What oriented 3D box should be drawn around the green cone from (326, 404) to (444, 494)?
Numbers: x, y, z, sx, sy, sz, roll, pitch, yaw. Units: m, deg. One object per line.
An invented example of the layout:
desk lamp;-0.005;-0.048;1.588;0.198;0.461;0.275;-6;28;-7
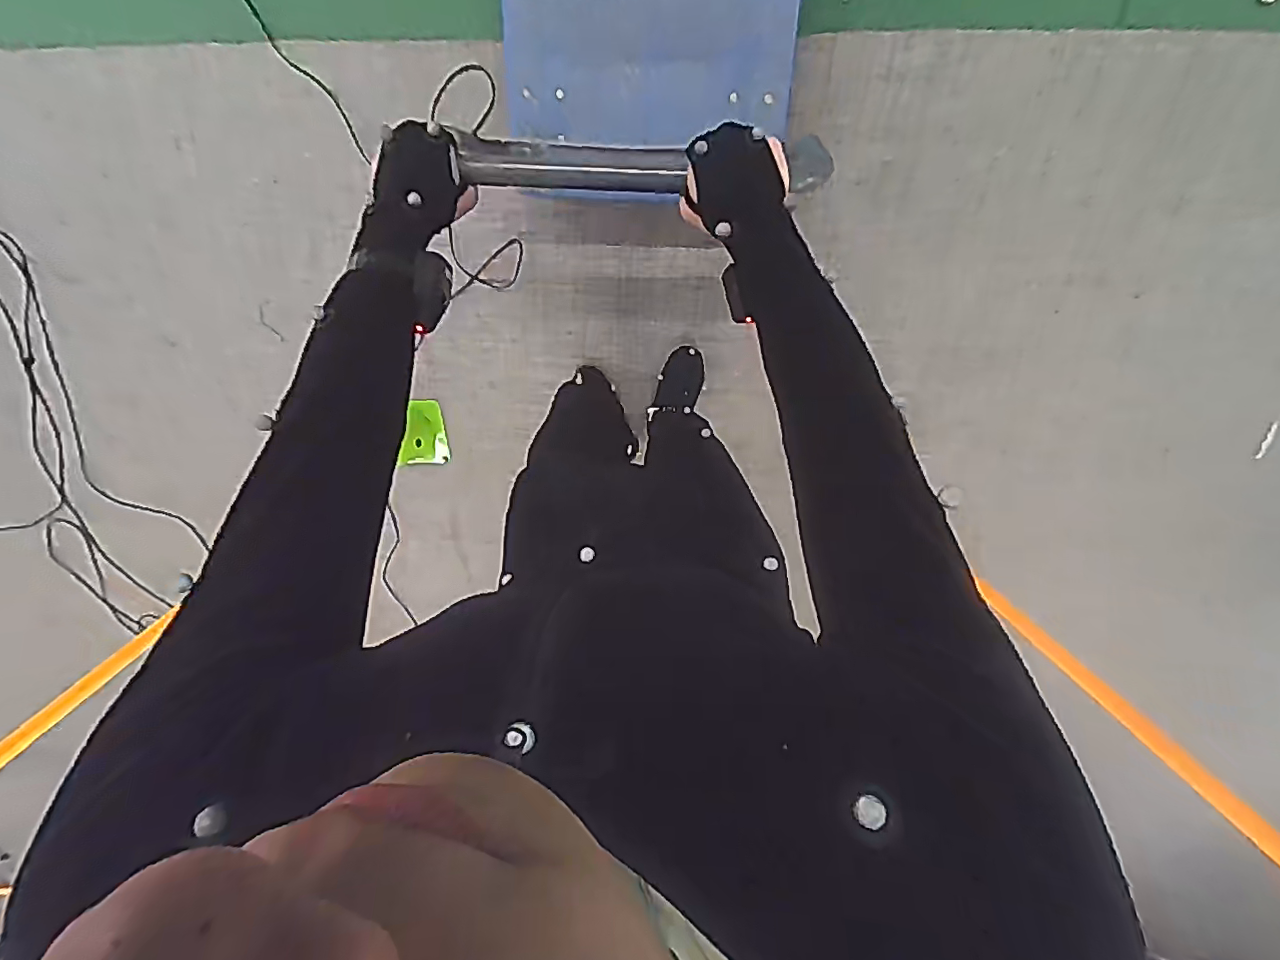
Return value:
green cone;-0.713;-0.061;1.461;0.202;0.368;0.200;-1;114;7
